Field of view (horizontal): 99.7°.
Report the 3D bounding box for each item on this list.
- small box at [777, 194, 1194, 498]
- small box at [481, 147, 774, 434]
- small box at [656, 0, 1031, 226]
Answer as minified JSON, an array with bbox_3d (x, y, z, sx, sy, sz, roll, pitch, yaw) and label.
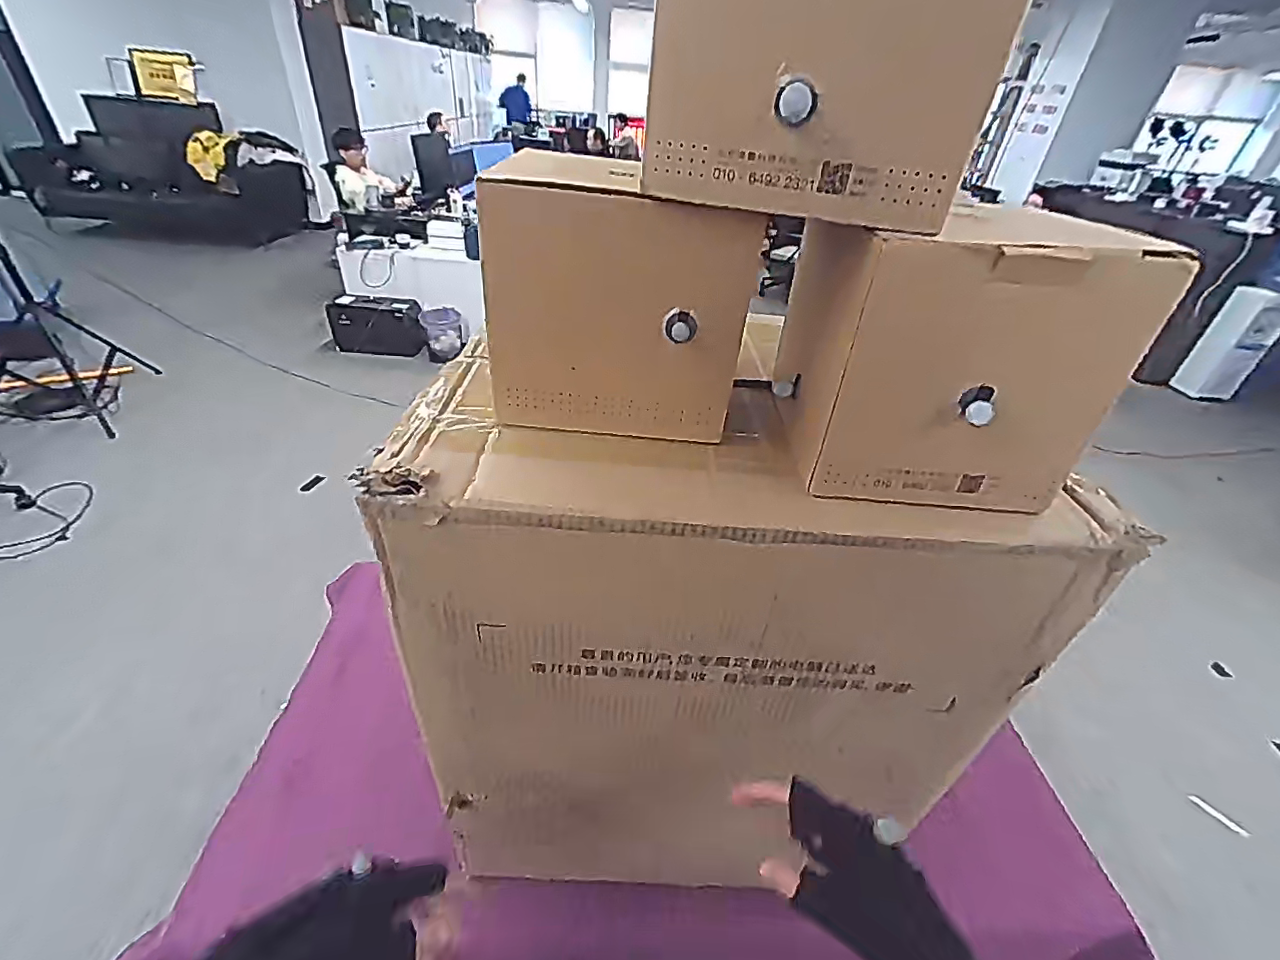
[{"bbox_3d":[0.206,-0.103,0.392,0.168,0.176,0.179,4,35,0],"label":"small box"},{"bbox_3d":[-0.012,-0.149,0.425,0.179,0.176,0.168,4,35,-2],"label":"small box"},{"bbox_3d":[0.109,-0.261,0.317,0.168,0.176,0.179,12,36,9],"label":"small box"}]
